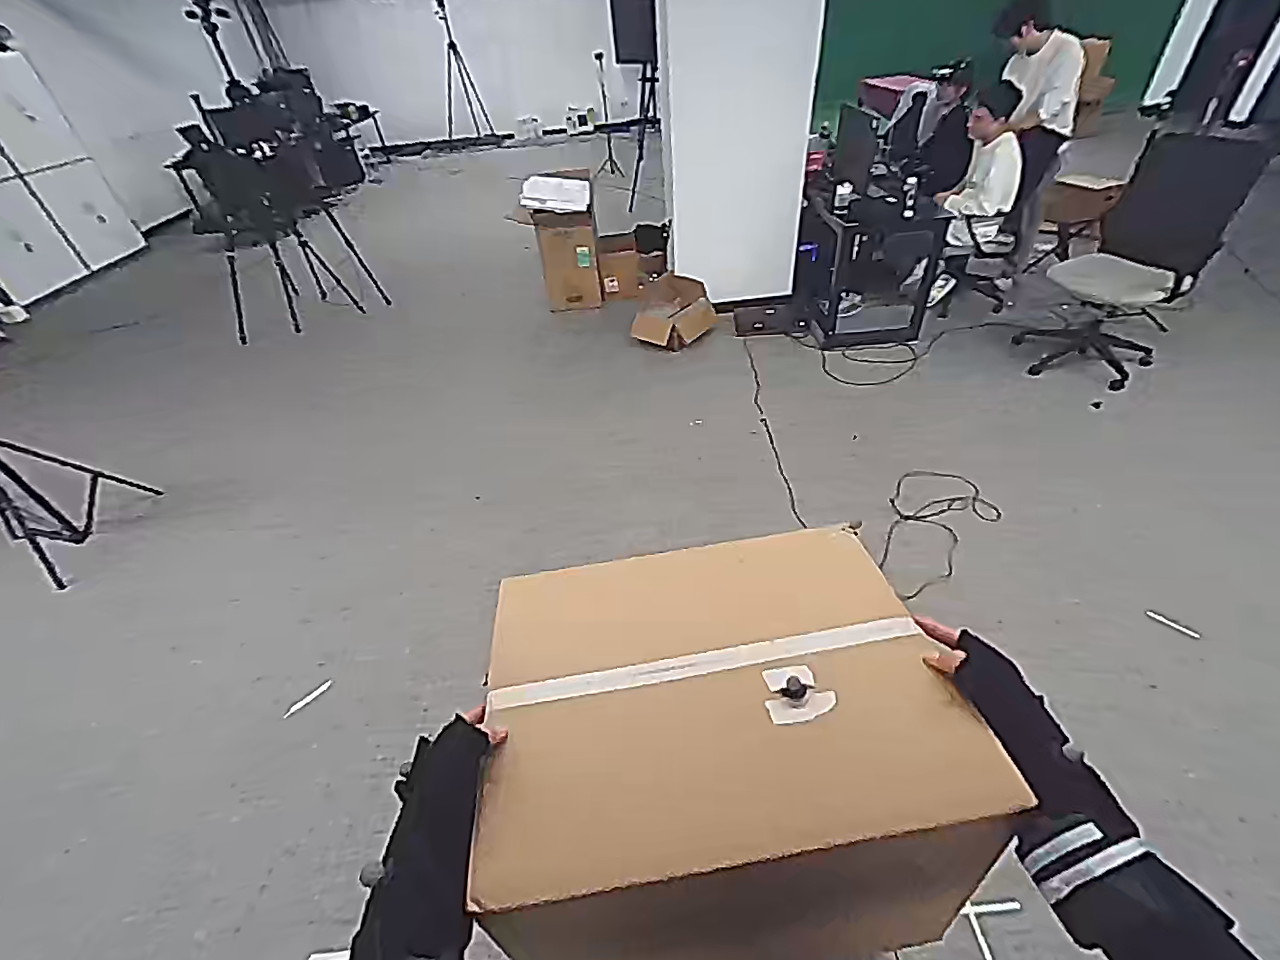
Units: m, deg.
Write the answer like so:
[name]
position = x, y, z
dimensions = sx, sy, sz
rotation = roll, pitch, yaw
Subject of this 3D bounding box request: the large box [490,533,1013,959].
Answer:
[large box]
position = 0.081, 0.300, 0.598
dimensions = 0.408, 0.320, 0.320
rotation = -9, 36, -2
